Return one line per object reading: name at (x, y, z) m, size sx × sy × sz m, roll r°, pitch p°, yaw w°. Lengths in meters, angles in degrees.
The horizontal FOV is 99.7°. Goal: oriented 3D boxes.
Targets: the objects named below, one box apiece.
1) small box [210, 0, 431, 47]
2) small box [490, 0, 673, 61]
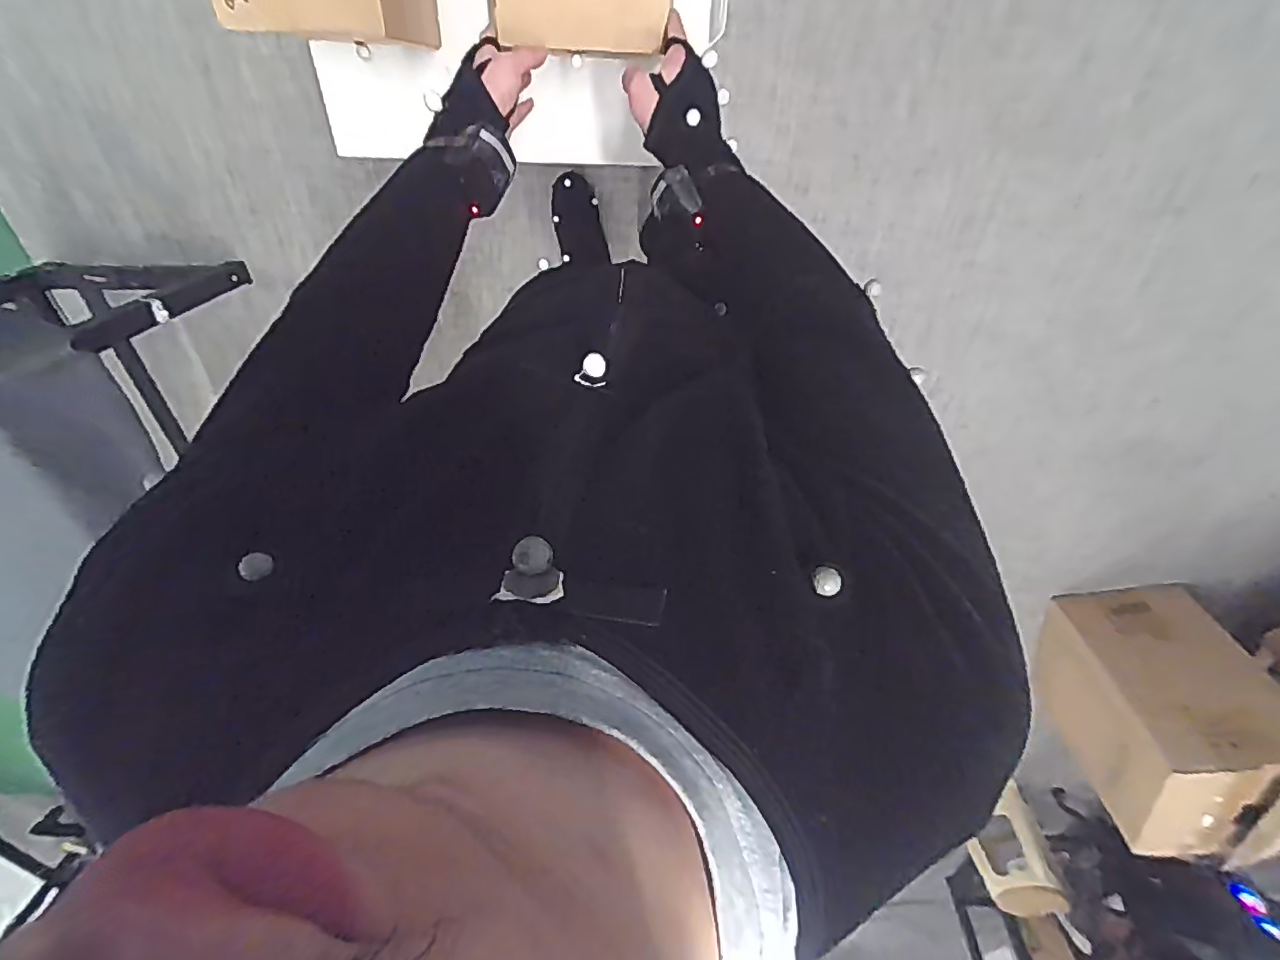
small box at (-0.335, -0.565, 0.564) m, size 0.179 × 0.176 × 0.168 m, roll 3°, pitch 126°, yaw 0°
small box at (-0.052, -0.543, 0.558) m, size 0.179 × 0.176 × 0.168 m, roll 4°, pitch 127°, yaw 1°
